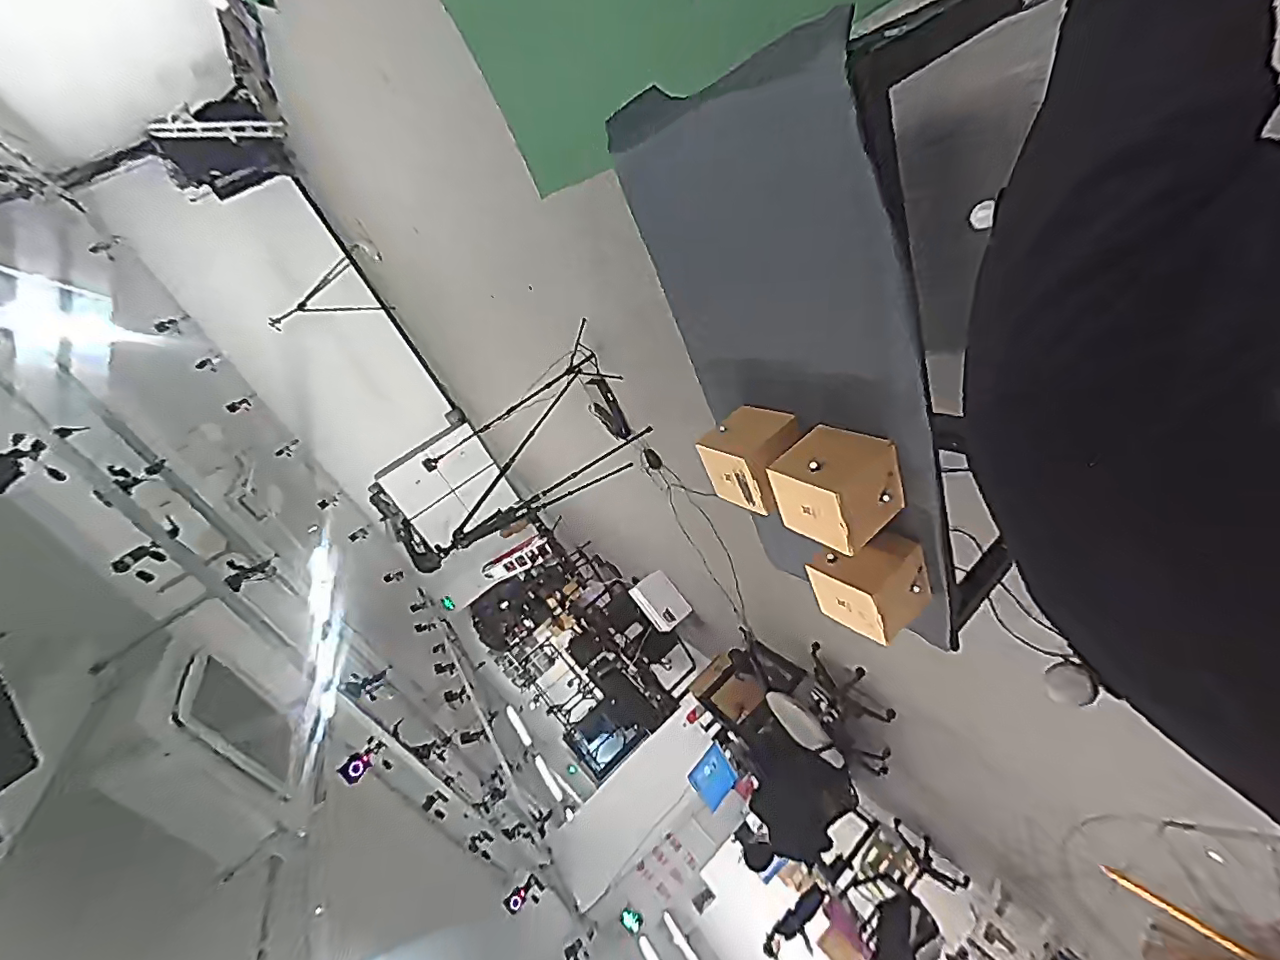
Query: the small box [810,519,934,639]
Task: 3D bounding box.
[{"bbox_3d":[0.516,0.210,1.200,0.179,0.176,0.168,23,147,54],"label":"small box"}]
